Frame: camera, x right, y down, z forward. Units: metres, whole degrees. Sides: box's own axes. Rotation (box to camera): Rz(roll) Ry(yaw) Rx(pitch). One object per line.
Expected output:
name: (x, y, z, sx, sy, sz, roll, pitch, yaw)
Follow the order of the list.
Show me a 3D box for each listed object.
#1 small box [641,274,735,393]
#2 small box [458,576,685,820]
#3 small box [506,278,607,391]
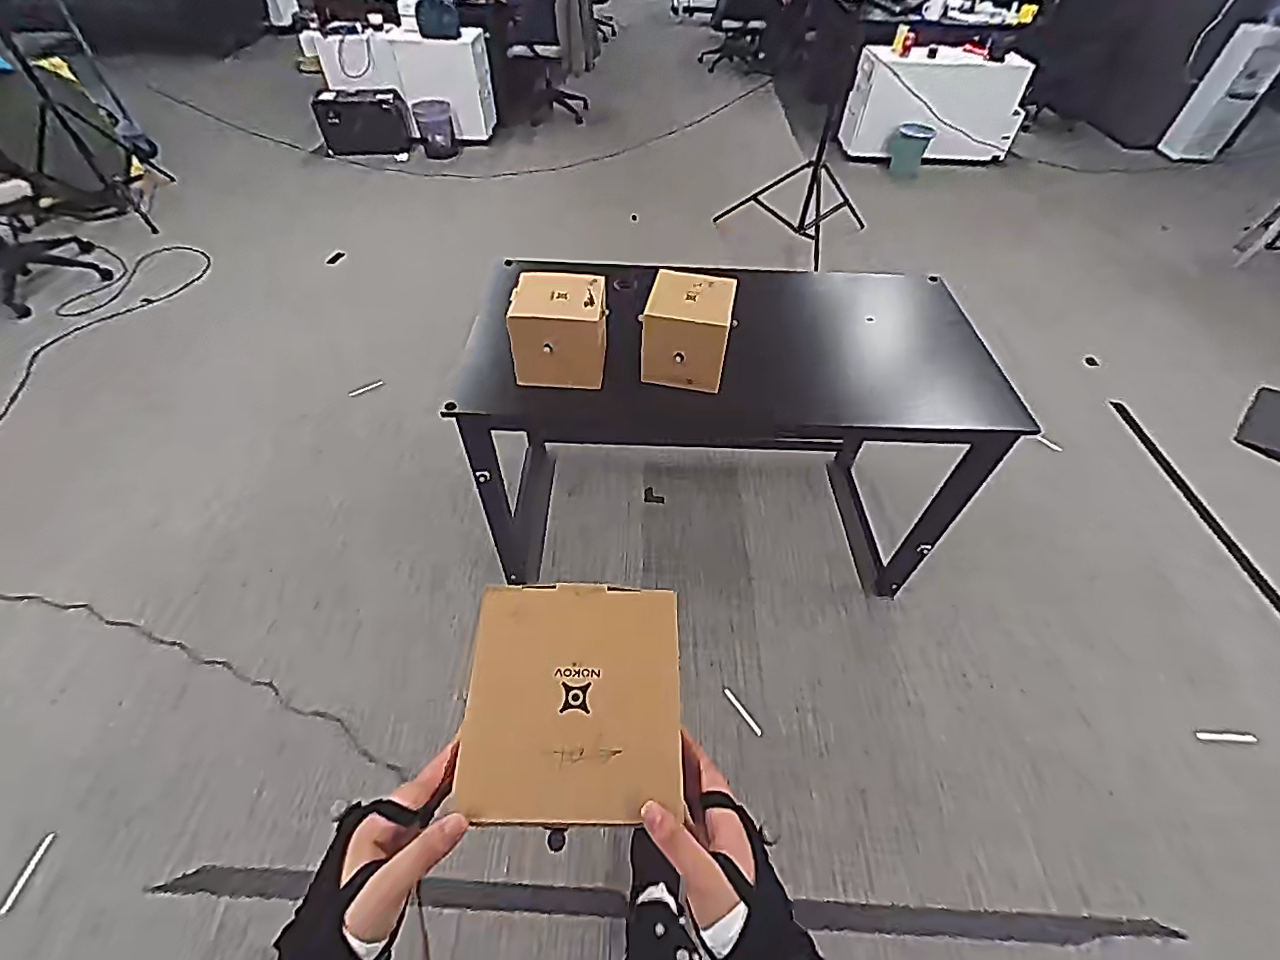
small box: (0.099, -0.306, 1.141, 0.168, 0.176, 0.179, 10, 49, 6)
small box: (-0.054, 0.205, 0.497, 0.168, 0.176, 0.179, 2, 57, -4)
small box: (-0.164, -0.301, 1.128, 0.179, 0.176, 0.168, 2, 49, 0)
